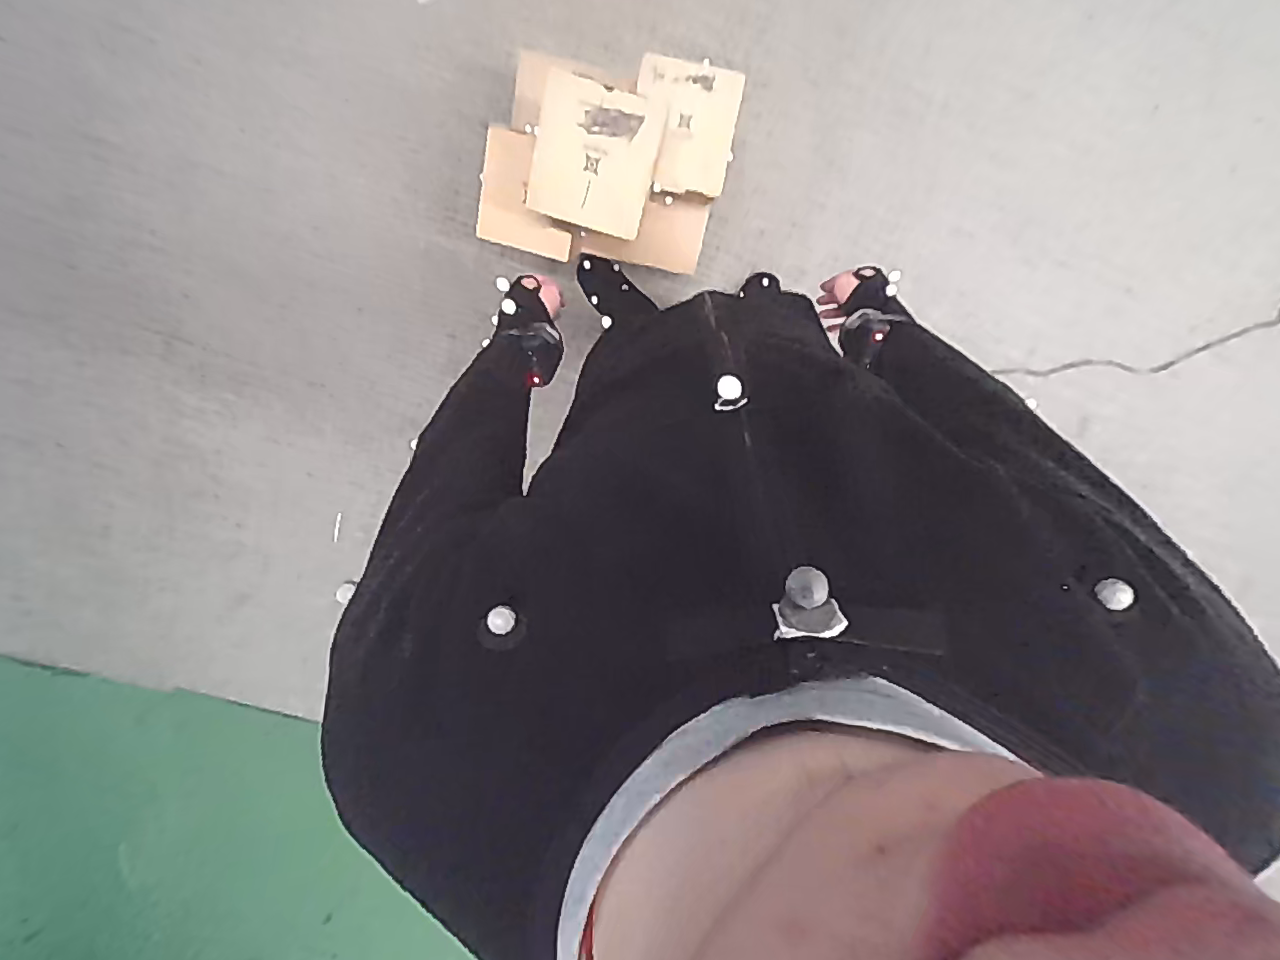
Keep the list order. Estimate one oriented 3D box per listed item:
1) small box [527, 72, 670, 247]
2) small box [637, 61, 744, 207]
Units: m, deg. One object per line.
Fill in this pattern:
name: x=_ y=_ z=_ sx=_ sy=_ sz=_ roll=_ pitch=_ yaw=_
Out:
small box: x=-0.059 y=-0.470 z=0.818 sx=0.168 sy=0.176 sz=0.179 roll=15 pitch=115 yaw=-4
small box: x=0.071 y=-0.587 z=0.943 sx=0.168 sy=0.176 sz=0.179 roll=10 pitch=114 yaw=-3
